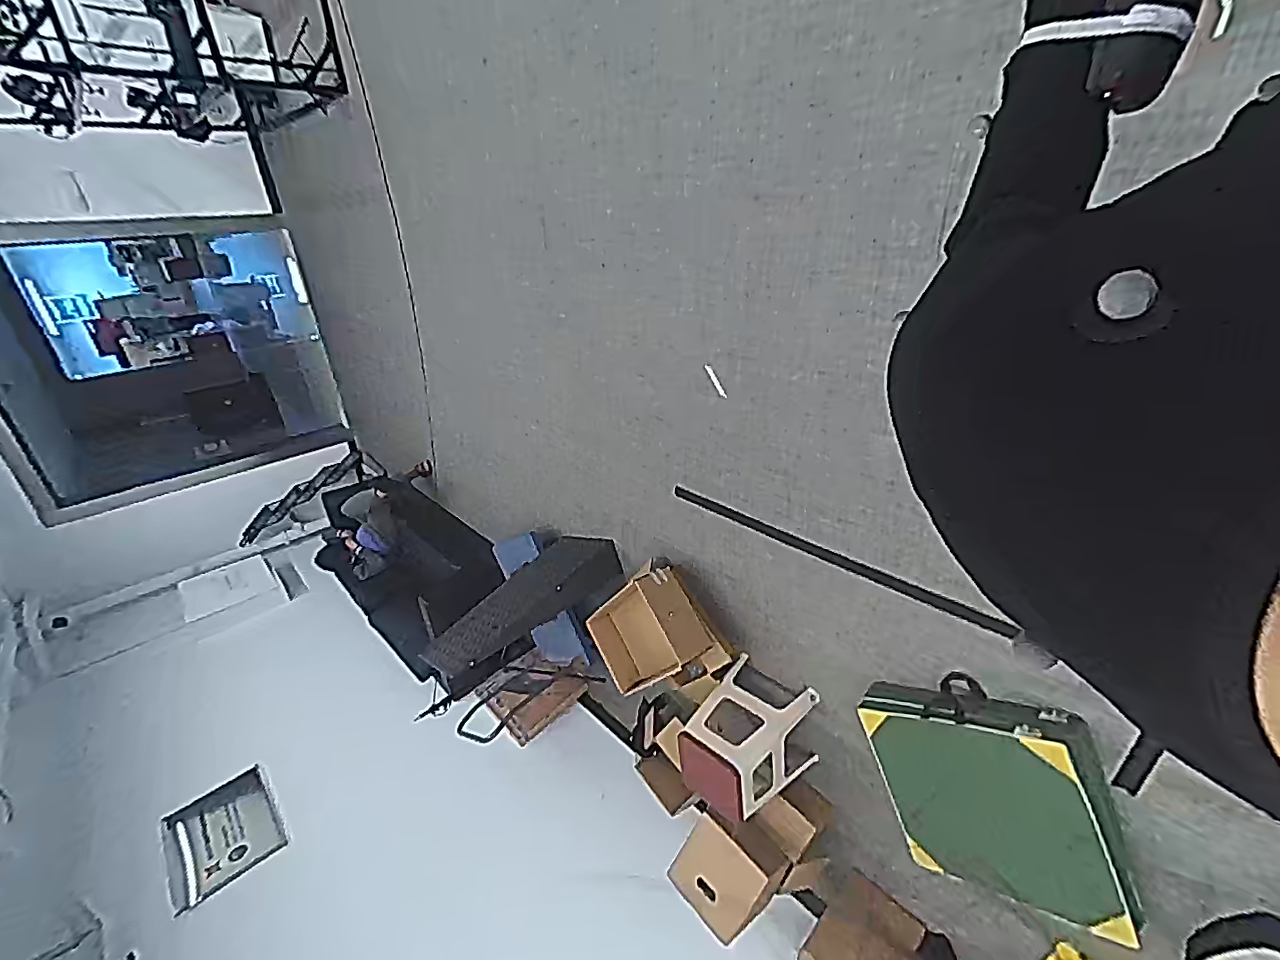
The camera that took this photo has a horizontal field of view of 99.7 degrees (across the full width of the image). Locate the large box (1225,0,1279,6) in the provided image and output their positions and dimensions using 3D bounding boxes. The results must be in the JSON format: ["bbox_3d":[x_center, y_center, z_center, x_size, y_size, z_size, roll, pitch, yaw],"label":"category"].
[{"bbox_3d":[0.550,-0.437,0.207,0.408,0.320,0.320,26,135,40],"label":"large box"}]
